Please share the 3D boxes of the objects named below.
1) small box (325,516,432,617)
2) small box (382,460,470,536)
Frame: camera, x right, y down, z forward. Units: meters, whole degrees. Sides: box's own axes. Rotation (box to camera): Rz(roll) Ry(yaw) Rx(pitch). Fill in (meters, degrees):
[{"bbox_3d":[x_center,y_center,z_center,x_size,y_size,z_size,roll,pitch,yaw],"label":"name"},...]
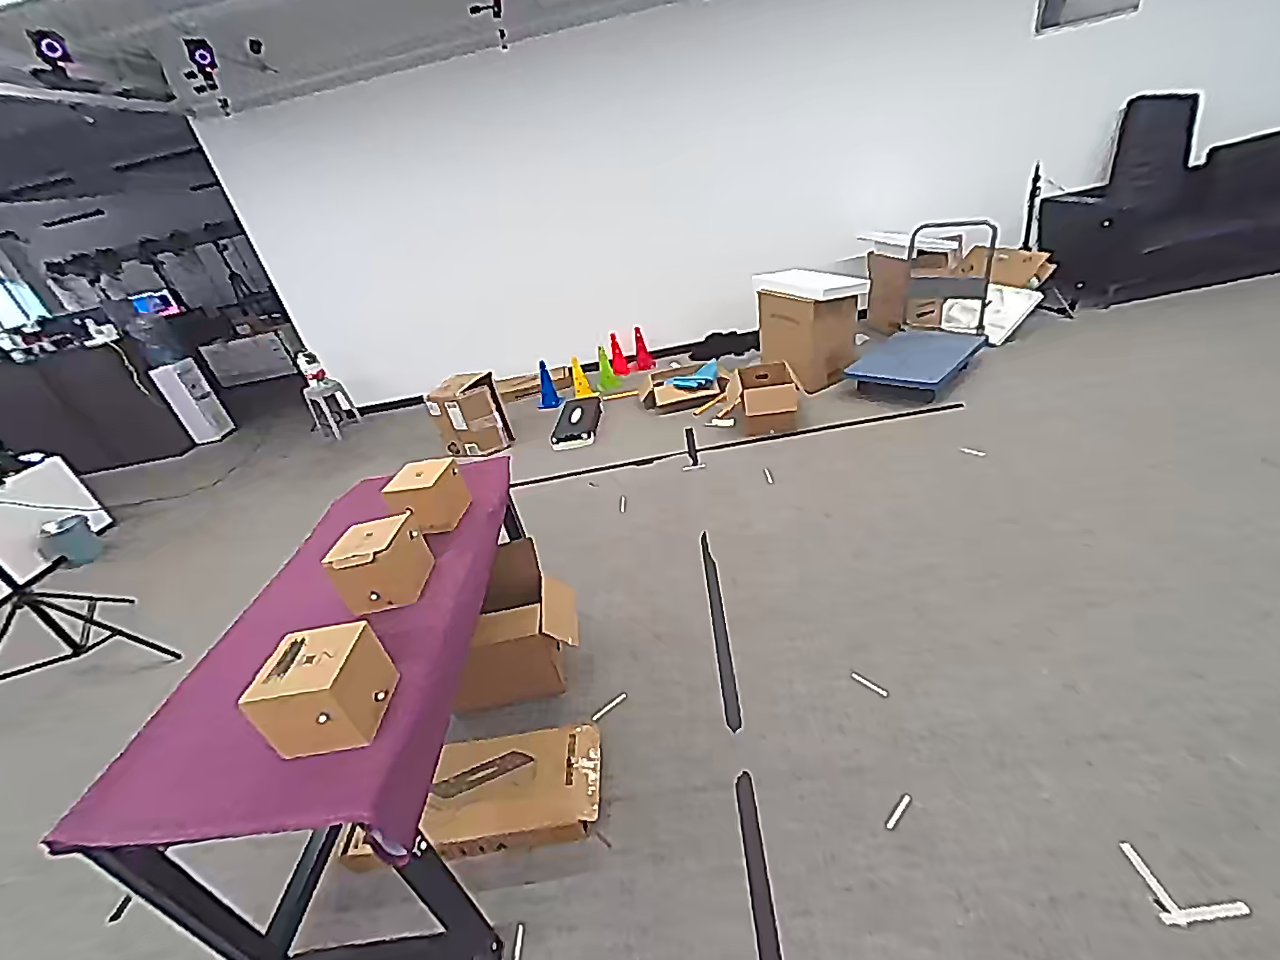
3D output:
[{"bbox_3d":[-0.659,0.221,1.391,0.168,0.176,0.179,-13,29,5],"label":"small box"},{"bbox_3d":[-0.648,0.061,1.666,0.168,0.176,0.179,-7,30,10],"label":"small box"}]
